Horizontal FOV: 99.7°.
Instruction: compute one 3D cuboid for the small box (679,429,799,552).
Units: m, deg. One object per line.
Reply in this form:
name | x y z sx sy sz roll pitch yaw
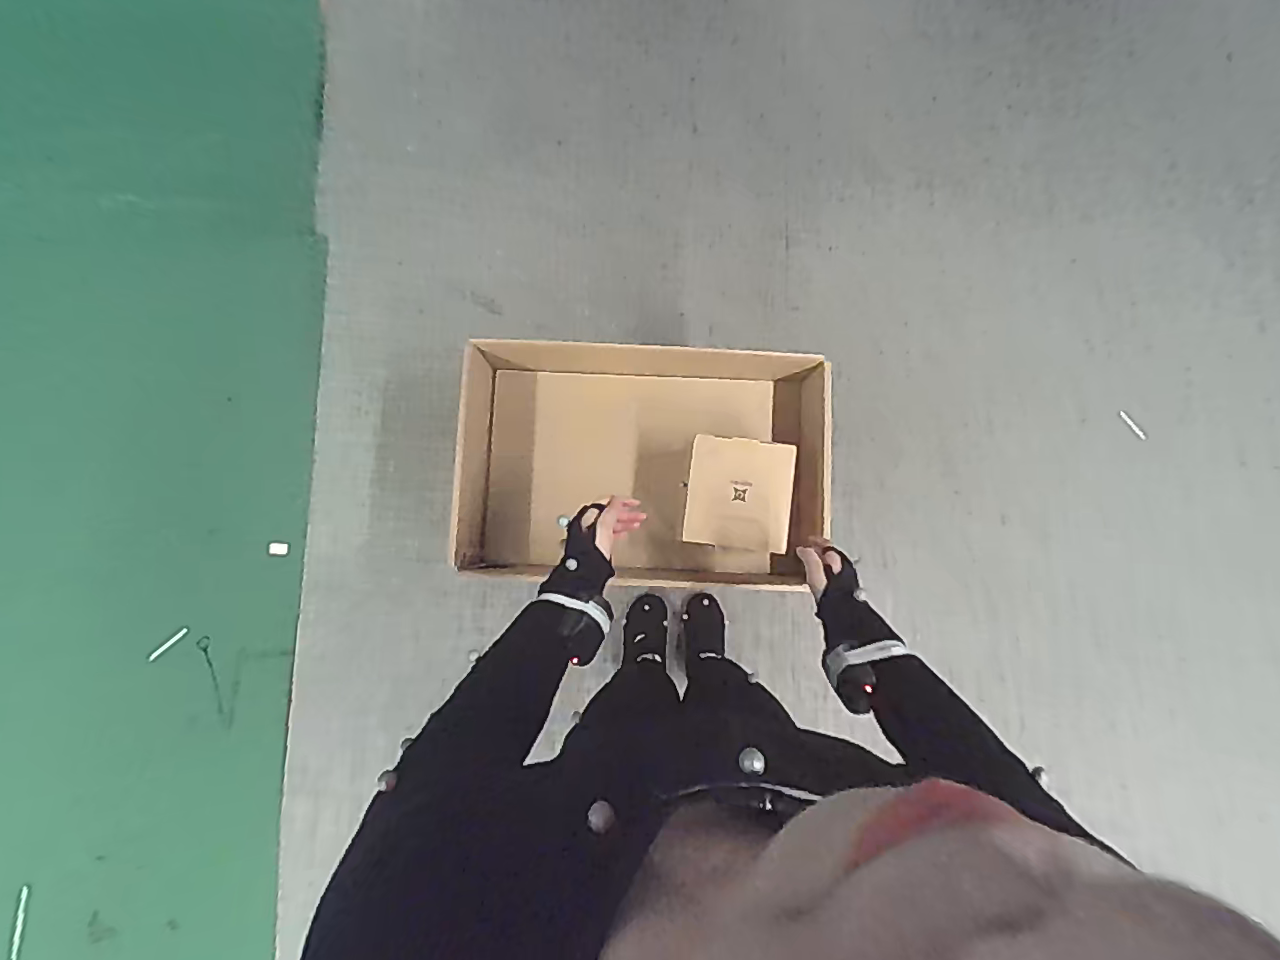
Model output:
small box | 0.160 0.024 0.926 0.168 0.176 0.179 8 84 2
